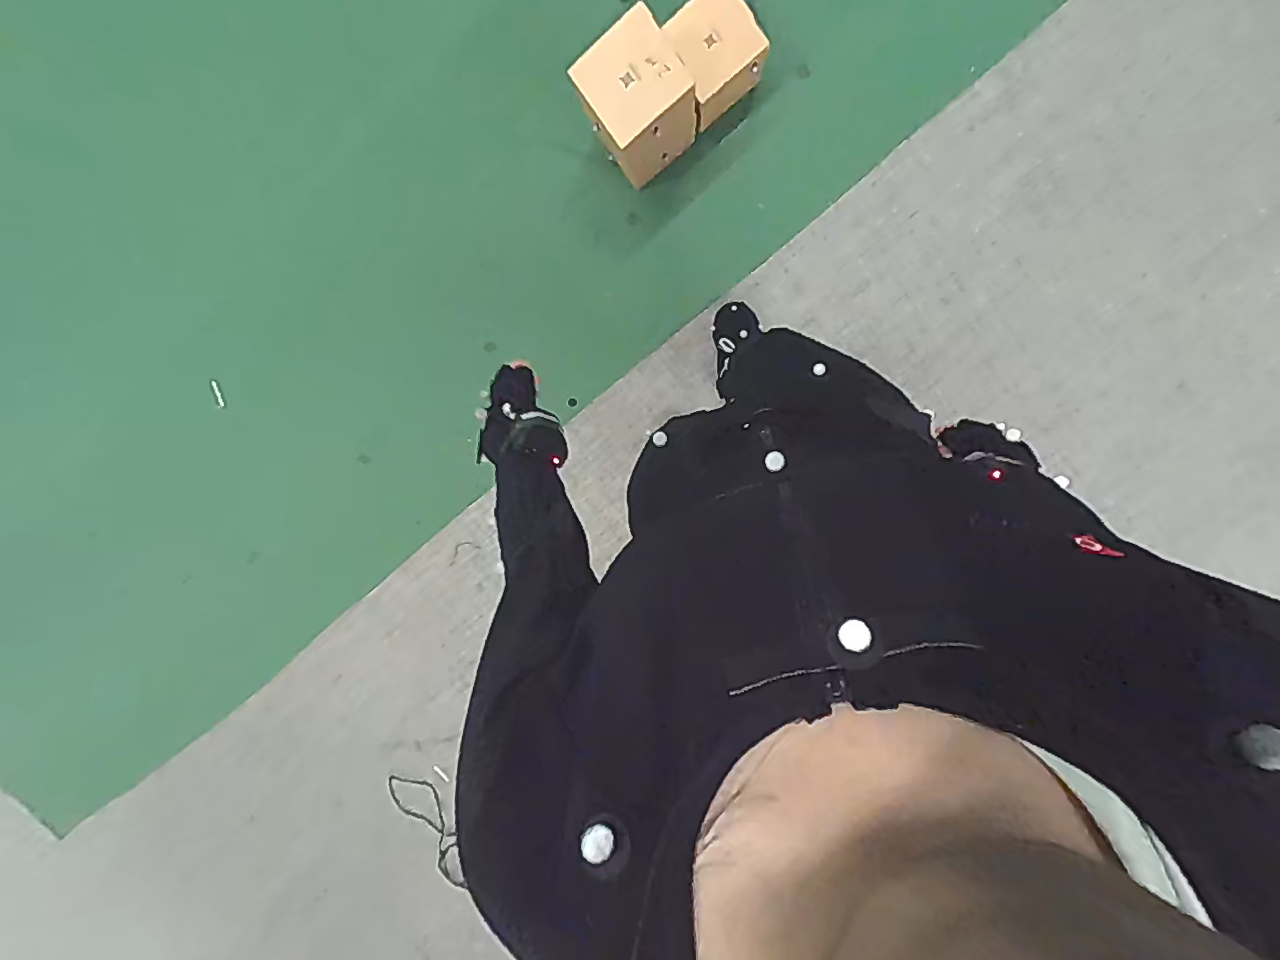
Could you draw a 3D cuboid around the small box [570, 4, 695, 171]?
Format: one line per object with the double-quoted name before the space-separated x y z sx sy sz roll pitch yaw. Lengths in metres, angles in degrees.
"small box" -0.007 -0.747 1.056 0.179 0.176 0.168 -36 100 12
